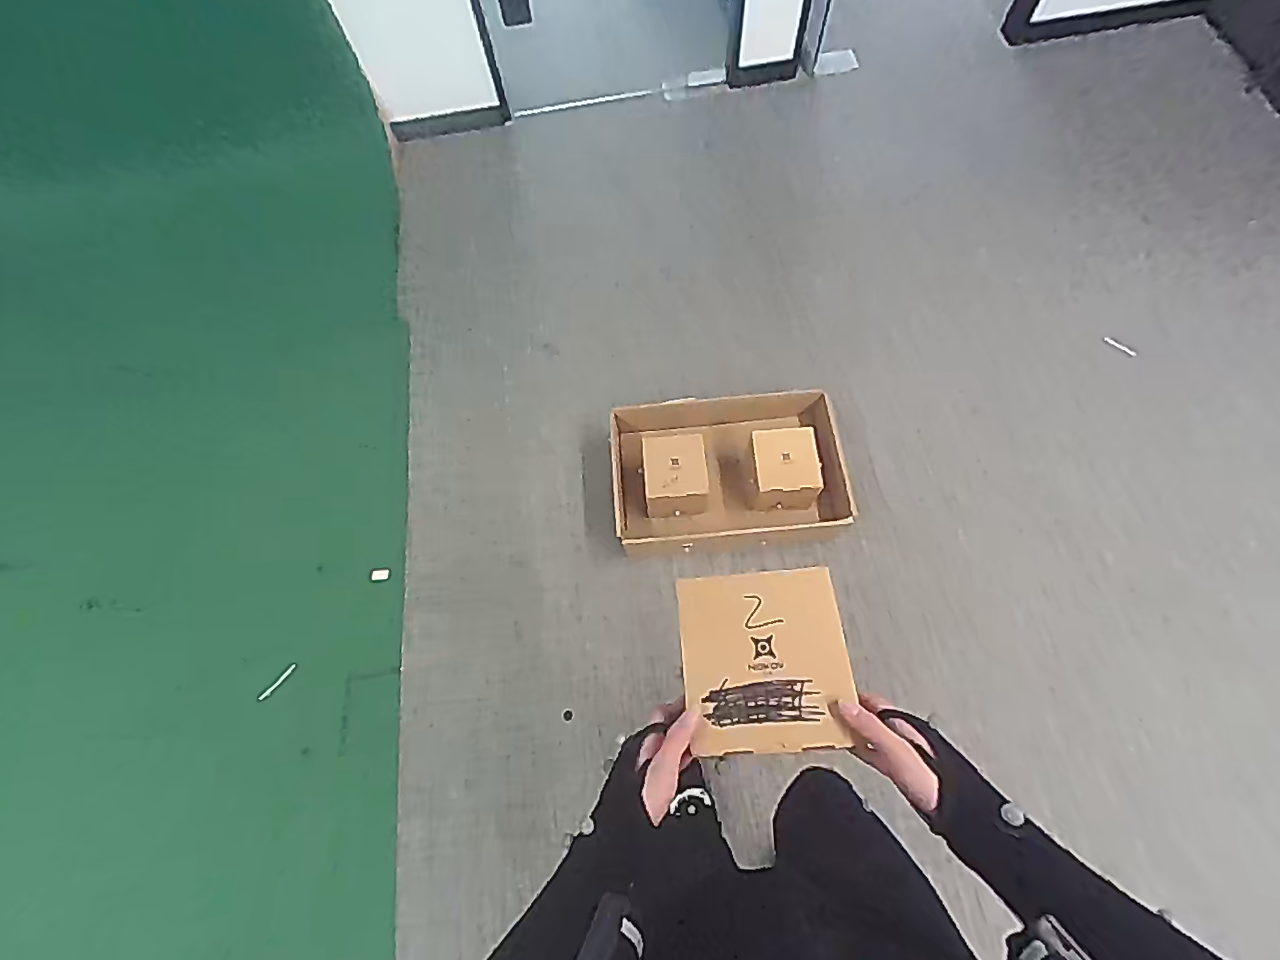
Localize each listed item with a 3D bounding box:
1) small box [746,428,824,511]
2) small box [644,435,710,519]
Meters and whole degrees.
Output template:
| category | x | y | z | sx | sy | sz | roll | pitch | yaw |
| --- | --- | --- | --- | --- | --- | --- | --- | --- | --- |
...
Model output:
| category | x | y | z | sx | sy | sz | roll | pitch | yaw |
| --- | --- | --- | --- | --- | --- | --- | --- | --- | --- |
| small box | 0.389 | -0.026 | 1.482 | 0.168 | 0.176 | 0.179 | -4 | 68 | 2 |
| small box | 0.099 | -0.006 | 1.492 | 0.168 | 0.176 | 0.179 | -5 | 67 | 2 |
